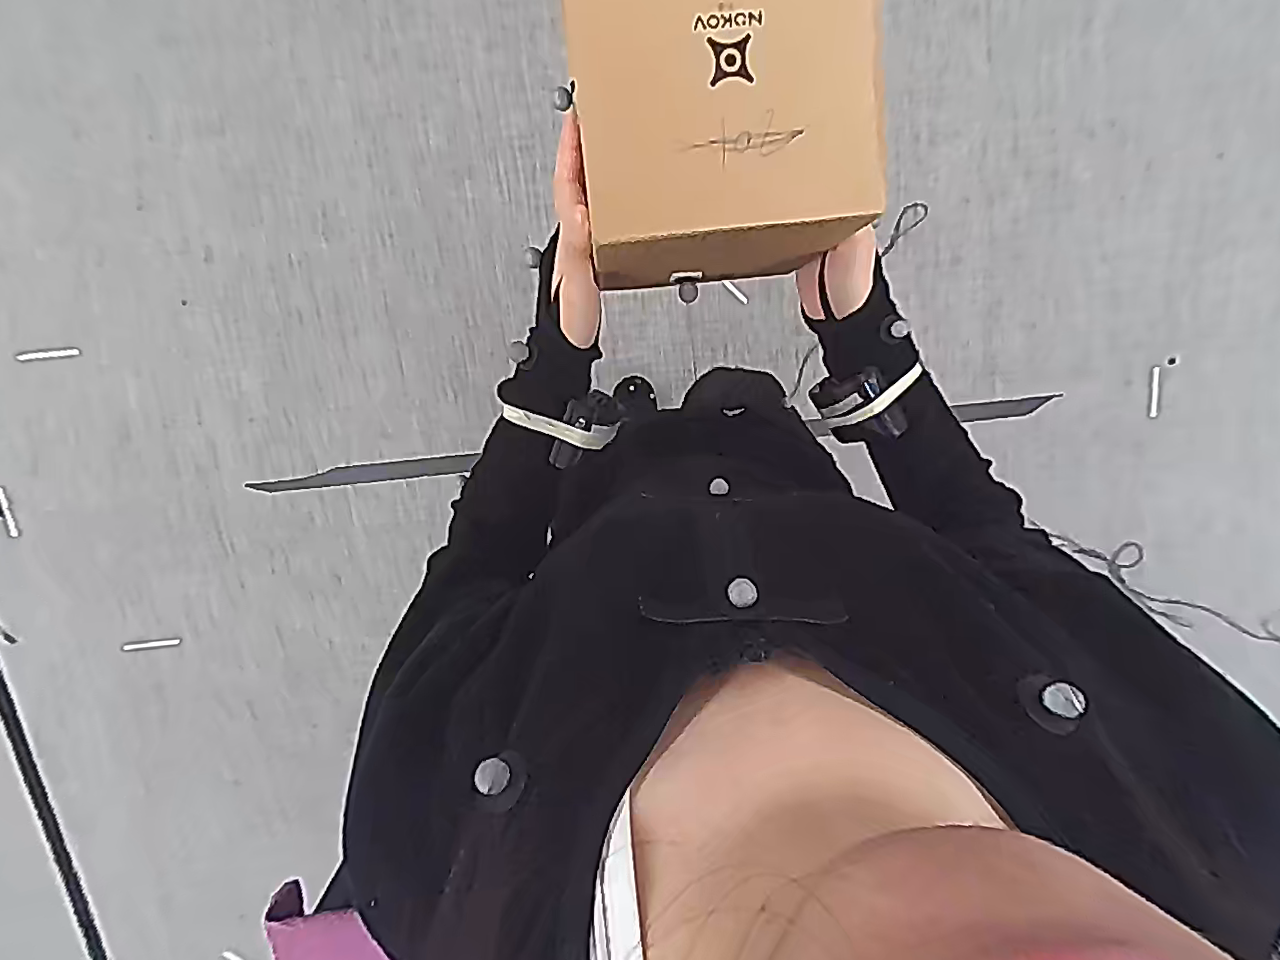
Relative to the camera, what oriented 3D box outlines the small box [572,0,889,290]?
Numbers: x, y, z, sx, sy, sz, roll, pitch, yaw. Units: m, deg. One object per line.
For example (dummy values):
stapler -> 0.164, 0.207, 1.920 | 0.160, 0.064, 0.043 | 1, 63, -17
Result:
small box -> 0.045, -0.239, 0.364 | 0.168, 0.176, 0.179 | -7, 101, -2
